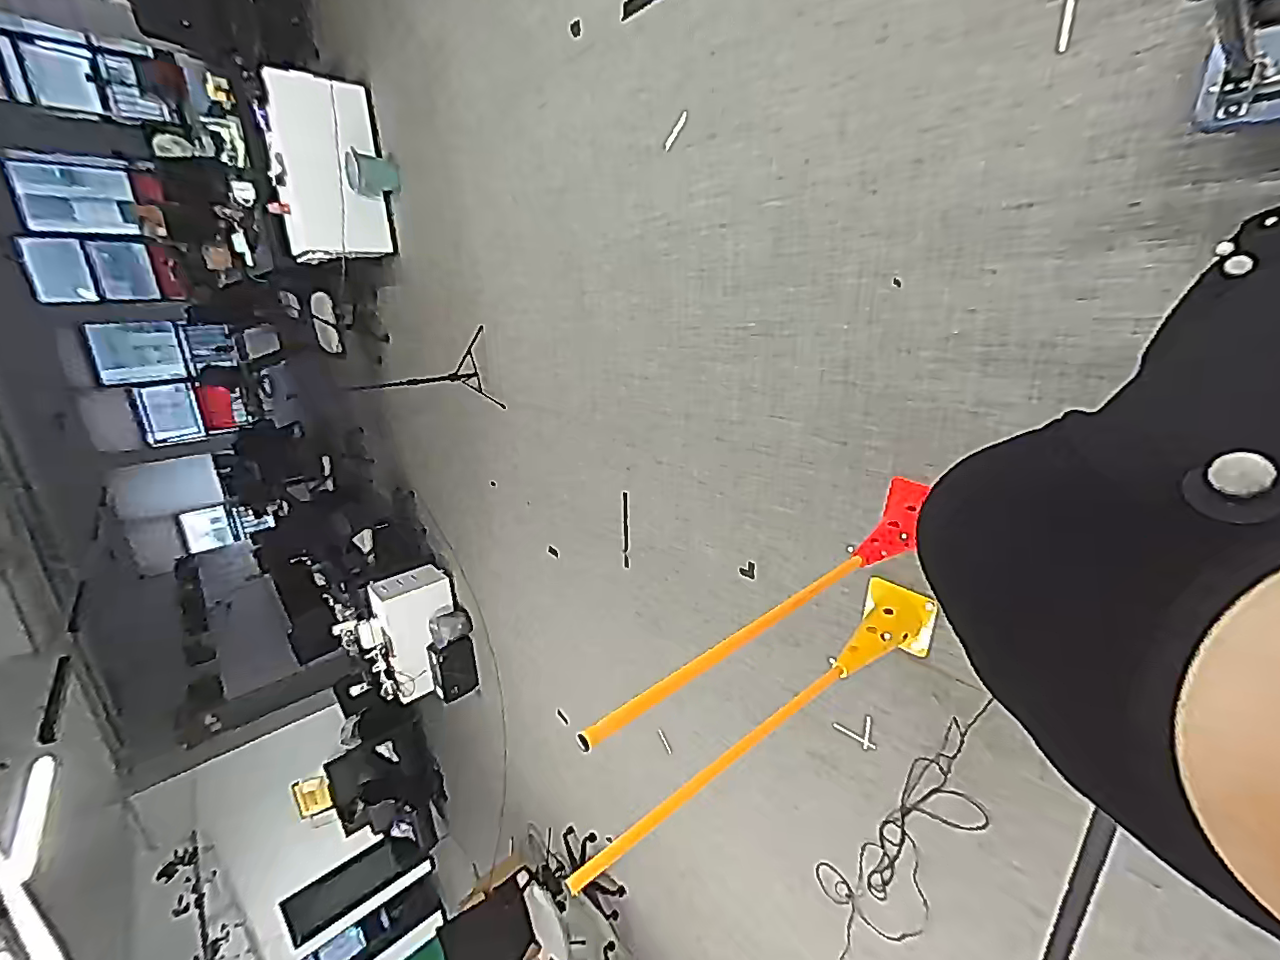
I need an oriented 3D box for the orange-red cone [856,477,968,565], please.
[{"bbox_3d":[0.660,0.144,1.397,0.198,0.360,0.199,27,122,41],"label":"orange-red cone"}]
